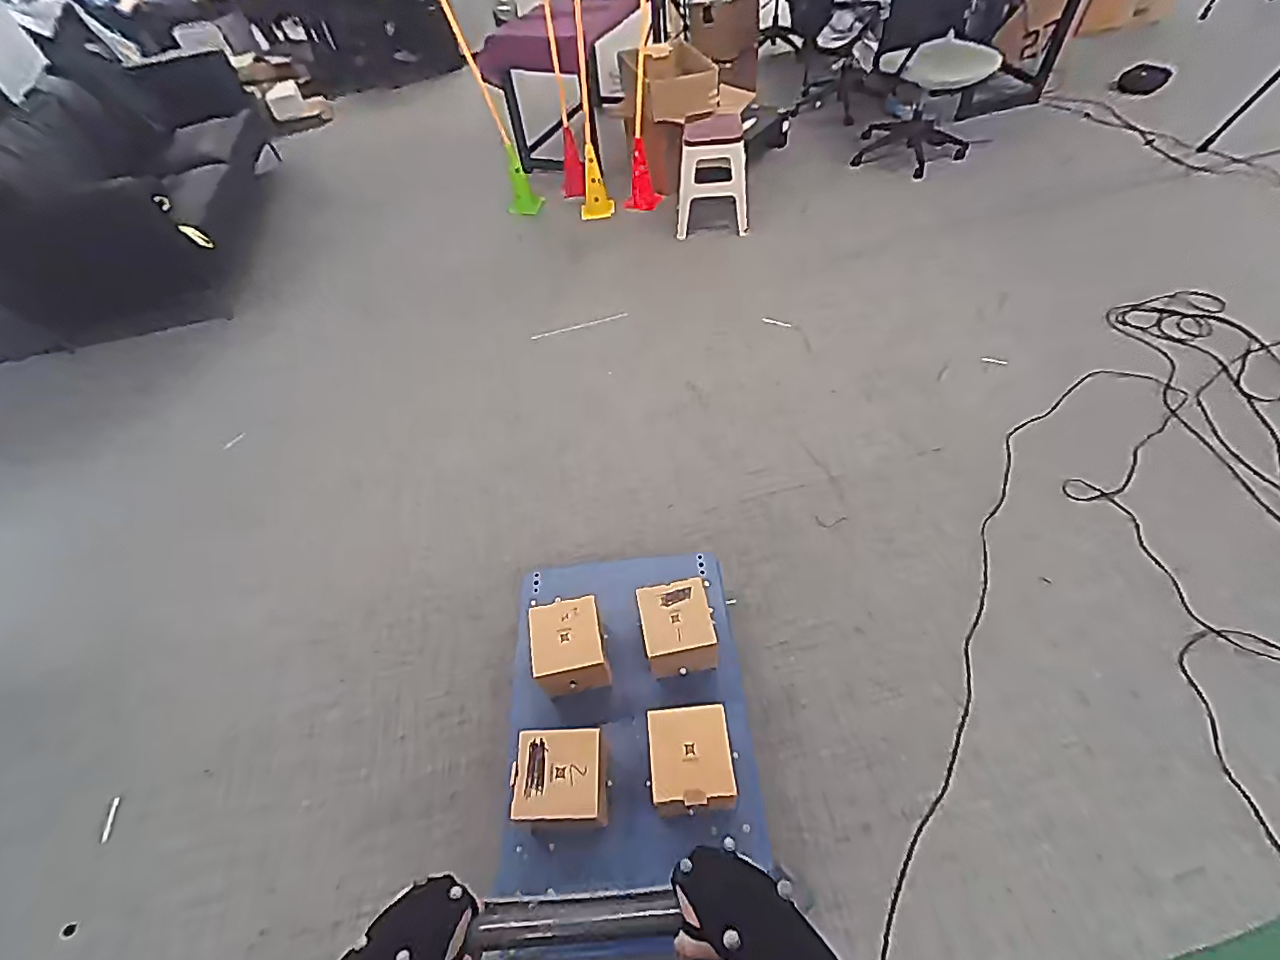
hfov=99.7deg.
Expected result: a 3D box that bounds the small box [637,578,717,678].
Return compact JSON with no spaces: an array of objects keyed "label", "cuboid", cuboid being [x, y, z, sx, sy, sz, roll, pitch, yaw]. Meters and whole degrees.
[{"label":"small box","cuboid":[0.090,0.372,1.352,0.168,0.176,0.179,-11,53,-2]}]

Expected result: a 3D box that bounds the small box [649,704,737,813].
[{"label":"small box","cuboid":[0.110,0.606,1.172,0.168,0.176,0.179,-6,53,1]}]

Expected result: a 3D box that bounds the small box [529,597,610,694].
[{"label":"small box","cuboid":[-0.173,0.417,1.346,0.168,0.176,0.179,-11,52,-3]}]
